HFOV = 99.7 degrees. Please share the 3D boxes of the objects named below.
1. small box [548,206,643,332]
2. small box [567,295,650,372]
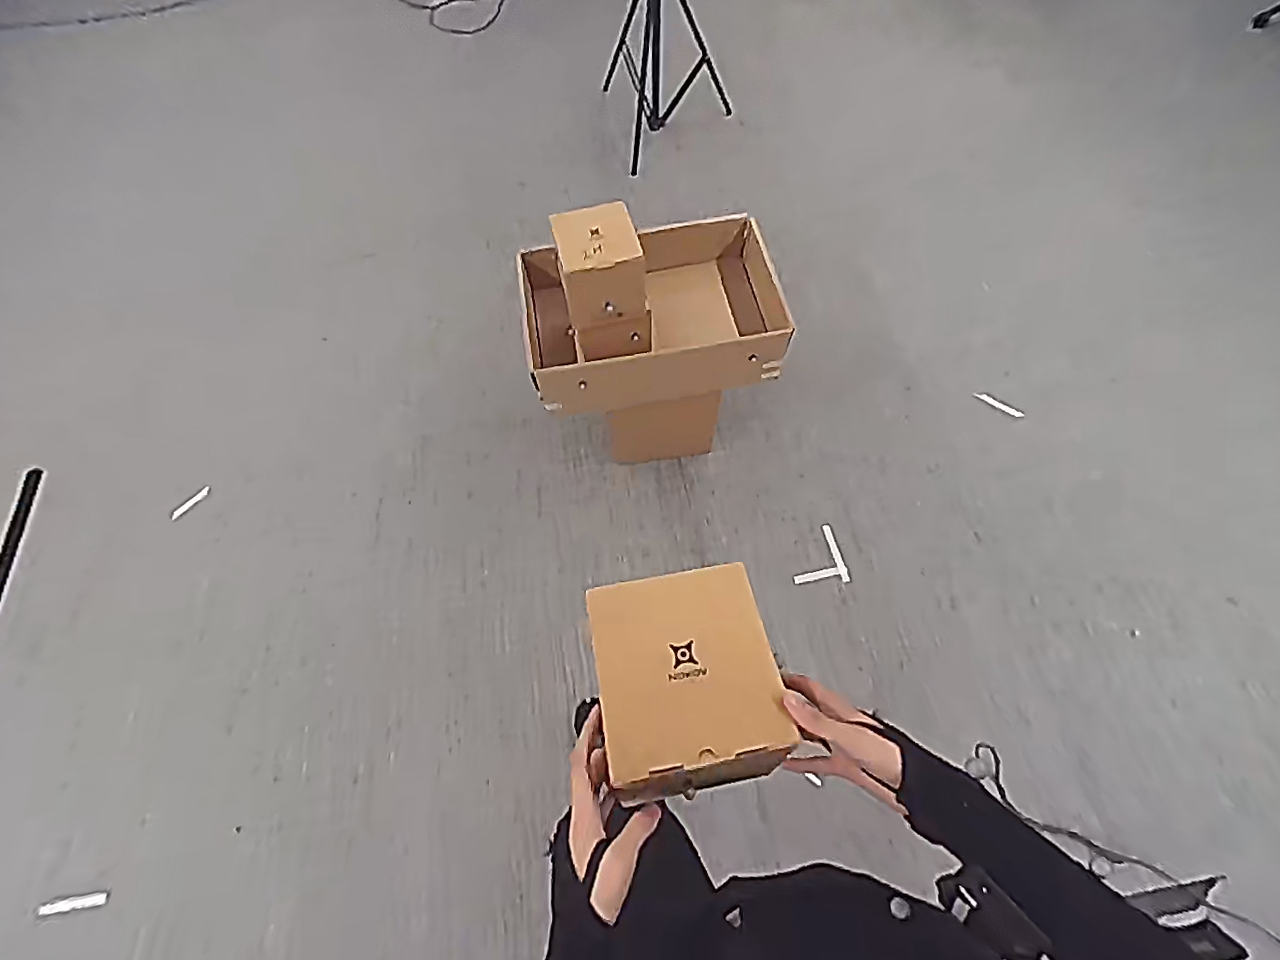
[{"bbox_3d":[-0.094,-0.455,1.176,0.168,0.176,0.179,-15,65,-5],"label":"small box"},{"bbox_3d":[-0.082,-0.393,1.328,0.179,0.176,0.168,-16,65,-6],"label":"small box"}]
